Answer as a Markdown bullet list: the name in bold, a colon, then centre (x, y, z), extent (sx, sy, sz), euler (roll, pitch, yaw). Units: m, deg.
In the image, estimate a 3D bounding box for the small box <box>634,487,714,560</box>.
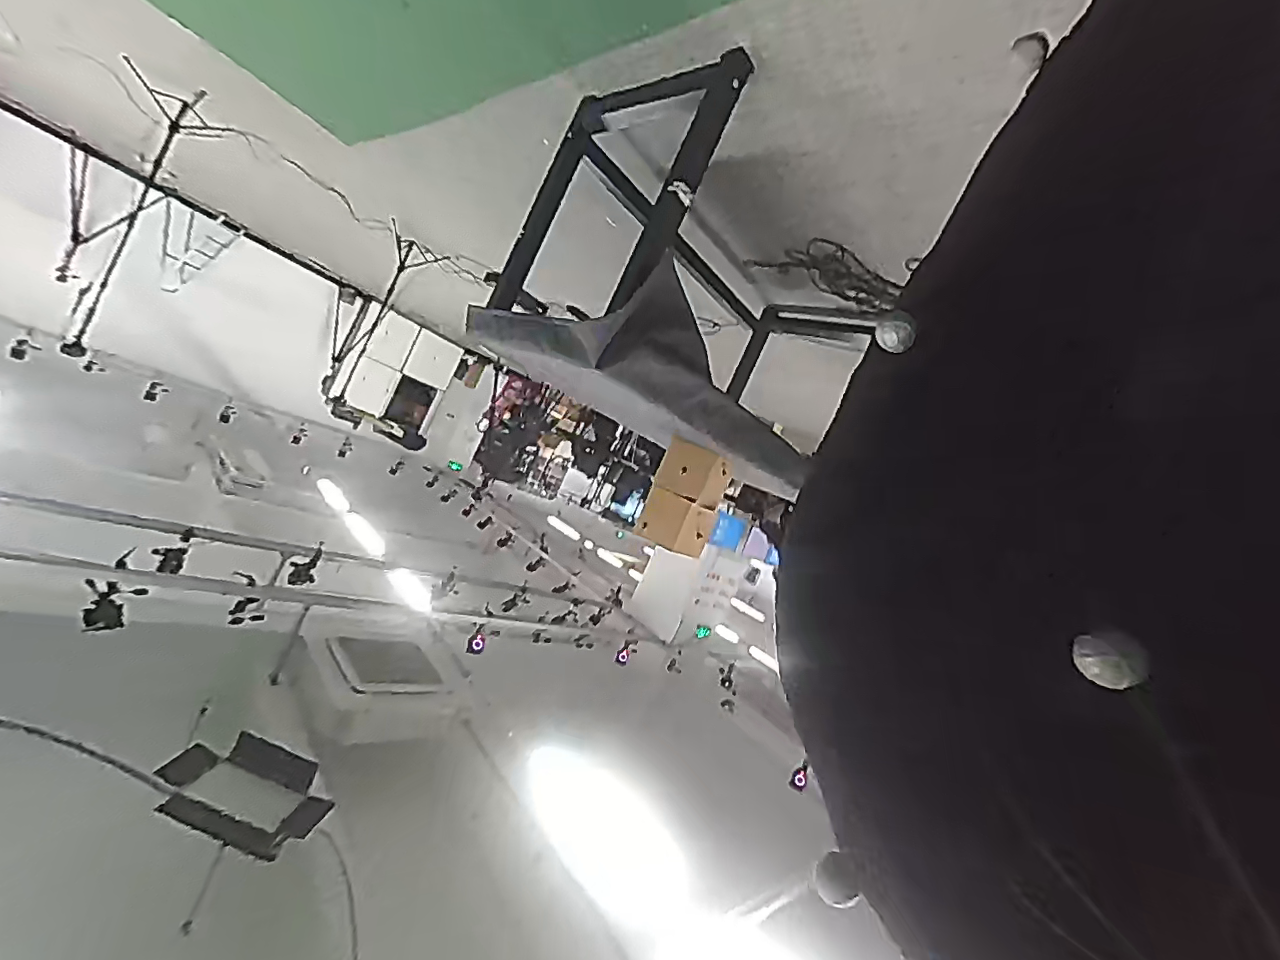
- **small box**: centre (0.117, 0.136, 1.732), extent (0.179, 0.176, 0.168), euler (25, 180, 41)
